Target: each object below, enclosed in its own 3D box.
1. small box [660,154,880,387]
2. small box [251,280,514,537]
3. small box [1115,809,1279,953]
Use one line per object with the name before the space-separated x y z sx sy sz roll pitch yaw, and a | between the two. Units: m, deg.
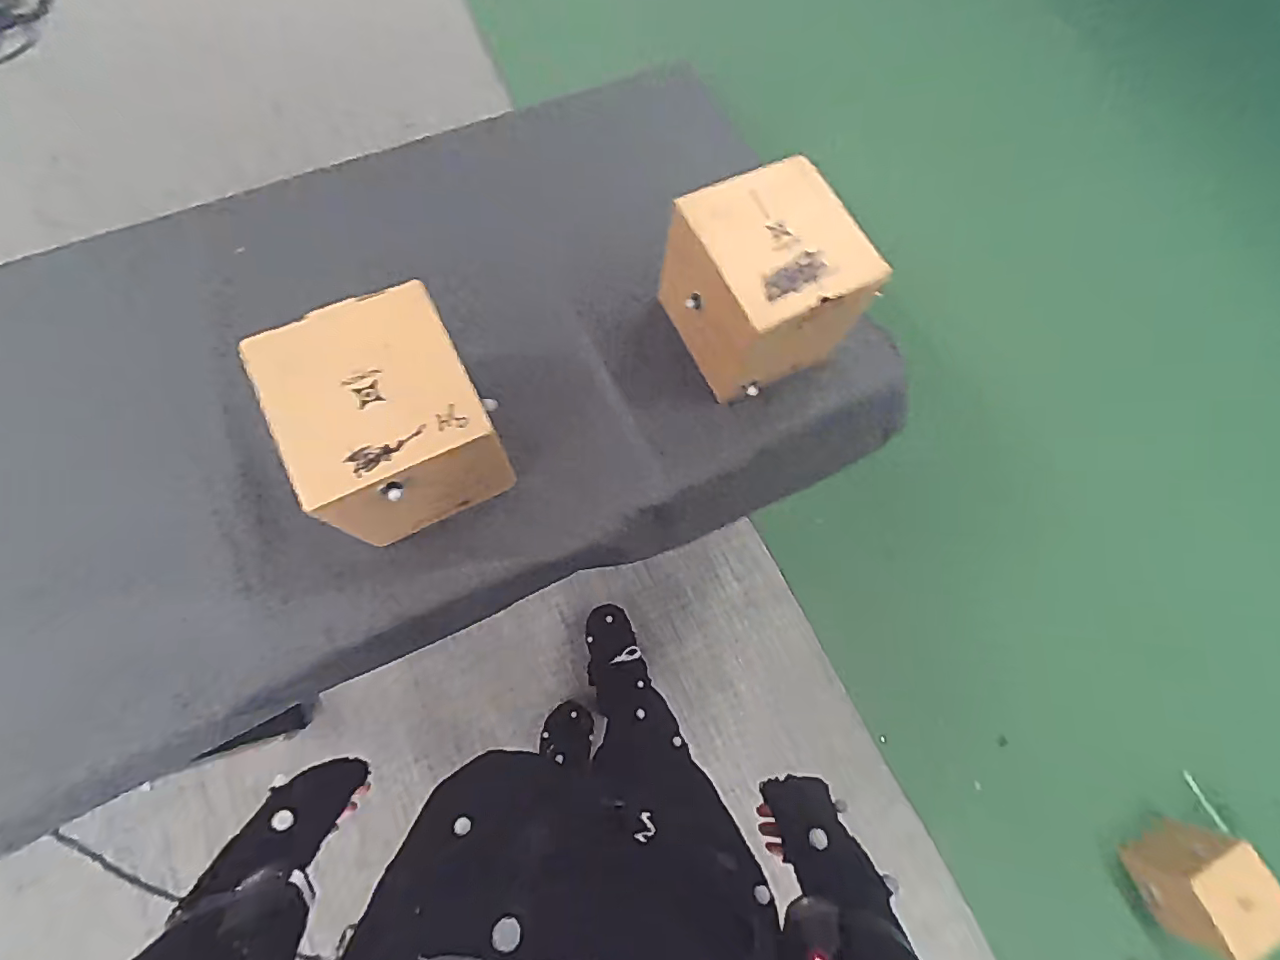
small box | 0.137 -0.232 0.642 0.168 0.176 0.179 -25 76 -11
small box | -0.247 -0.063 0.558 0.168 0.176 0.179 -26 77 -12
small box | 1.217 0.860 1.183 0.179 0.176 0.168 -24 76 -10
